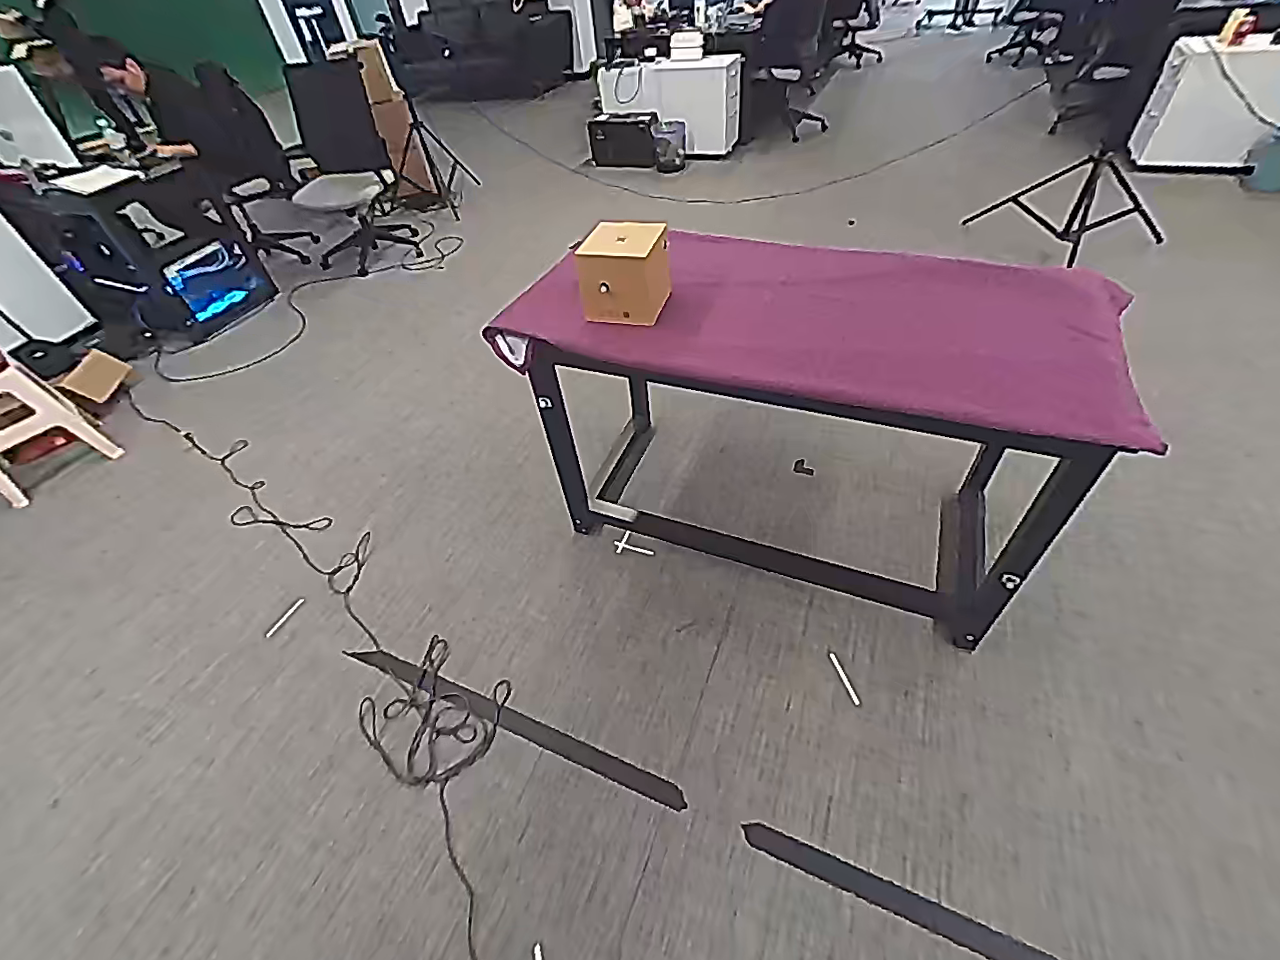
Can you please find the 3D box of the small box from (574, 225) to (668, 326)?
[{"bbox_3d":[-0.035,-0.476,1.259,0.168,0.176,0.179,8,47,15],"label":"small box"}]
